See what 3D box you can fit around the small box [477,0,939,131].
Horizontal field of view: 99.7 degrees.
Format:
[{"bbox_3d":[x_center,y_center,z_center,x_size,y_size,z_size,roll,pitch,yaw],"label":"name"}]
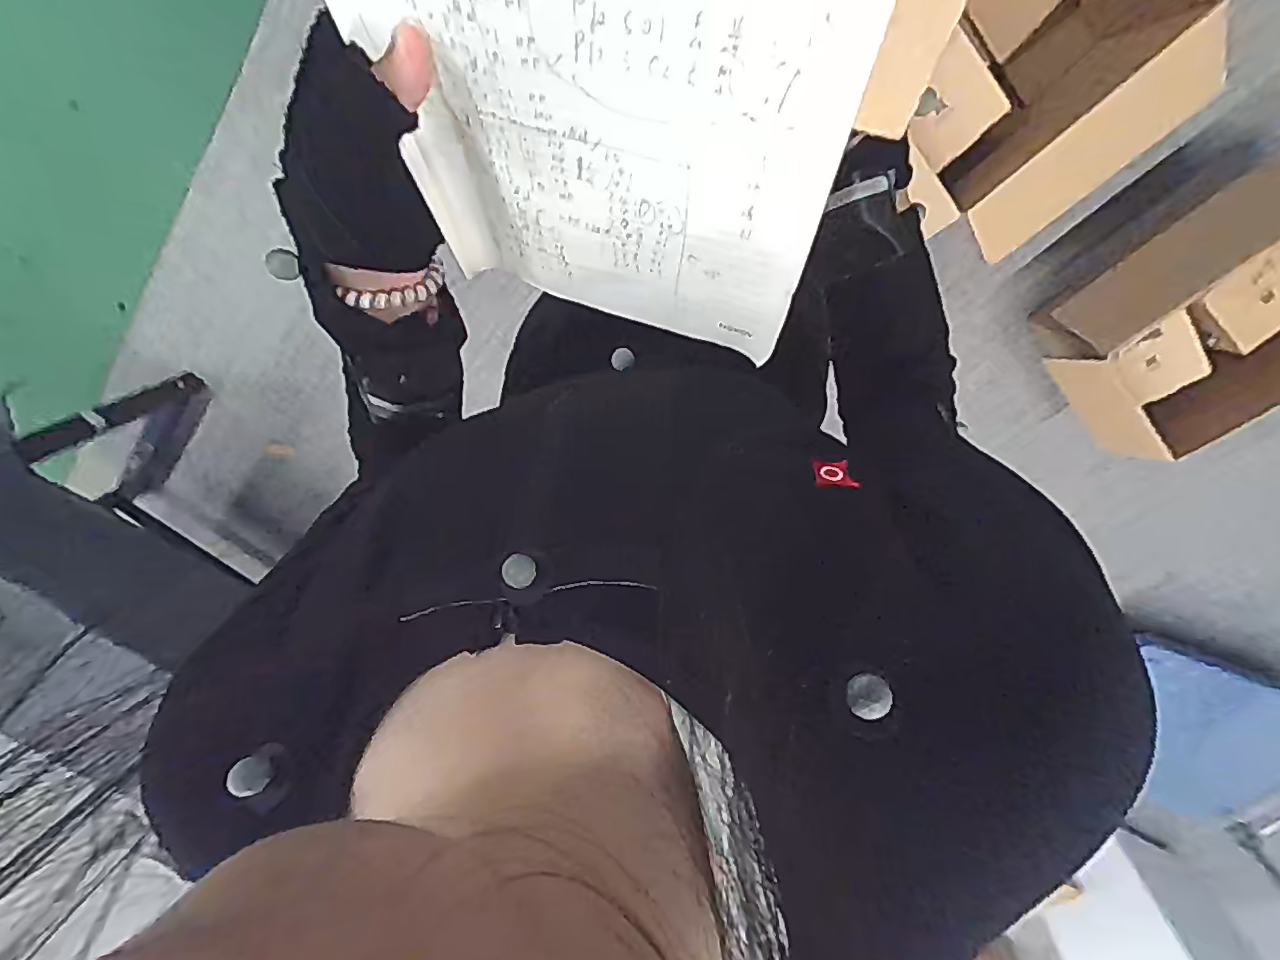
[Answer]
[{"bbox_3d":[0.039,-0.270,0.209,0.168,0.176,0.179,9,133,-6],"label":"small box"}]
